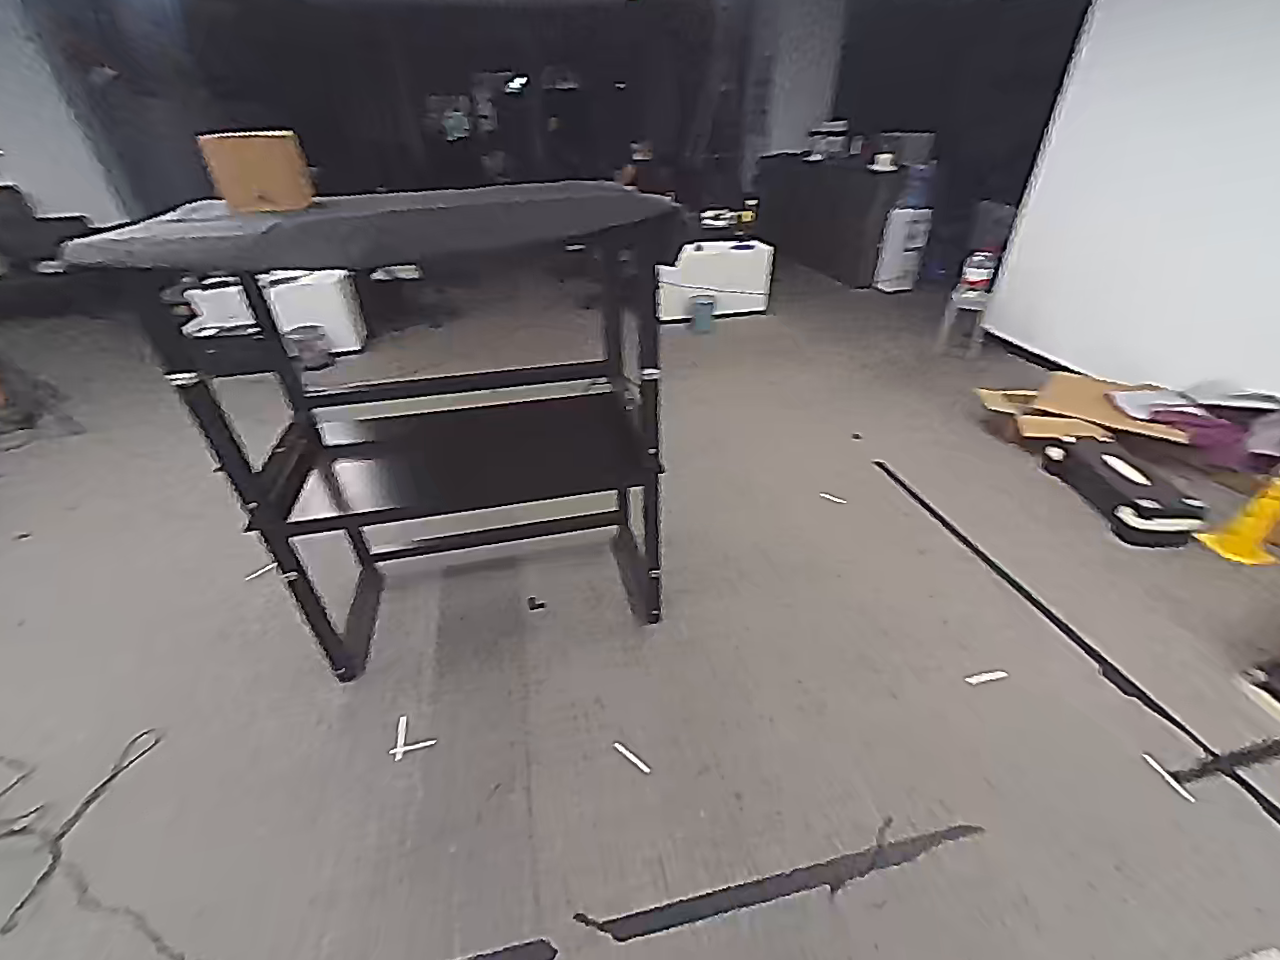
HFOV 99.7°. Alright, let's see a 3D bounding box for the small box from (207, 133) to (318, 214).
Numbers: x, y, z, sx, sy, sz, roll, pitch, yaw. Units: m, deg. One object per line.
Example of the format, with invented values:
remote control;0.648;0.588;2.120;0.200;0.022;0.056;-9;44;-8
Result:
small box;-0.979;-0.809;1.424;0.179;0.176;0.168;-9;35;-12
